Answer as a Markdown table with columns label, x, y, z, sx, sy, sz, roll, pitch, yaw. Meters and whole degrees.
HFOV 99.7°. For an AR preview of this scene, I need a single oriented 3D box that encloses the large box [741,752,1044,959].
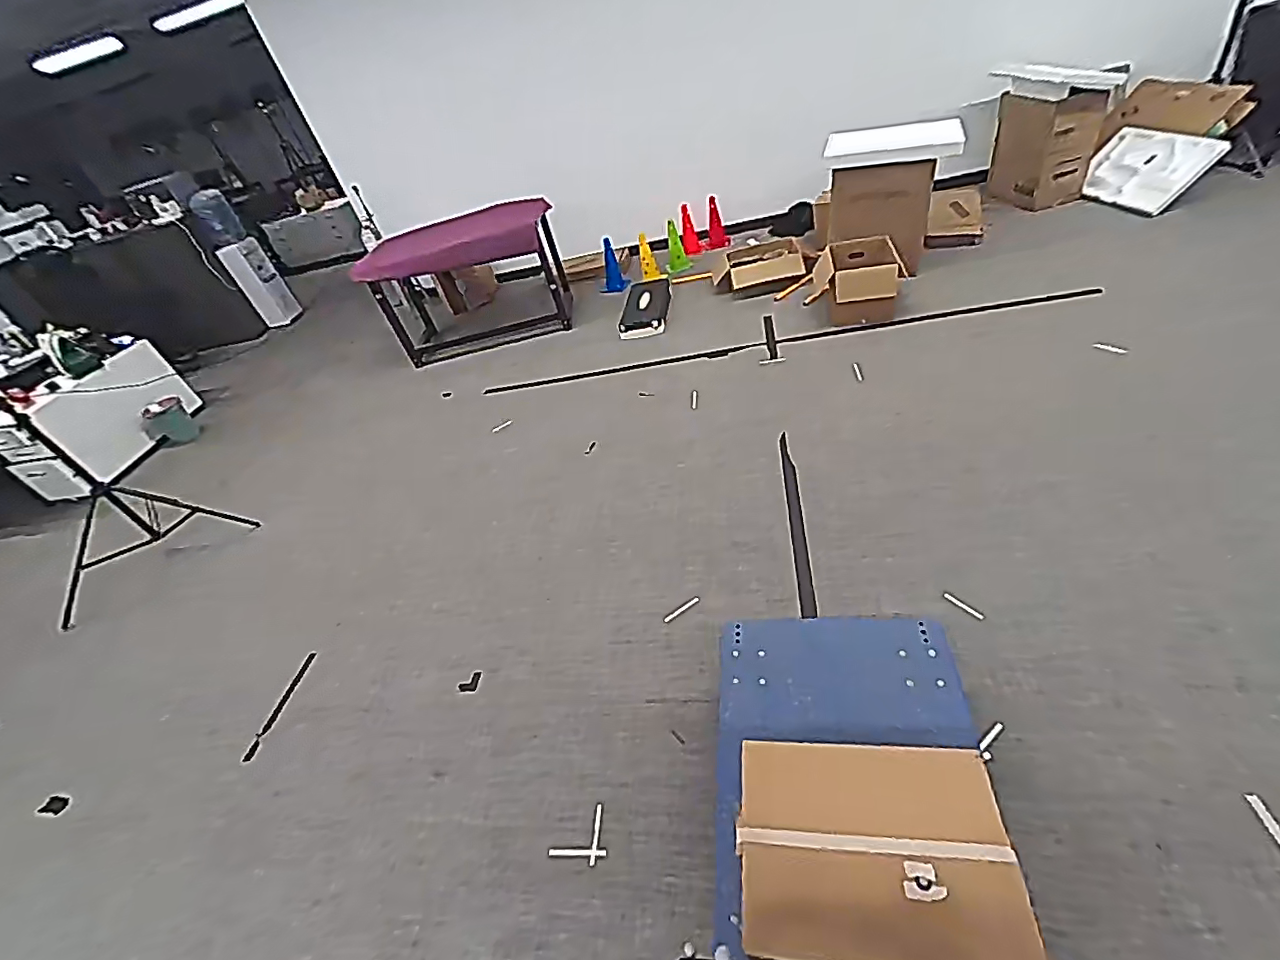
| label | x | y | z | sx | sy | sz | roll | pitch | yaw |
| --- | --- | --- | --- | --- | --- | --- | --- | --- | --- |
| large box | 0.392 | 0.701 | 0.937 | 0.408 | 0.320 | 0.320 | -5 | 41 | 14 |
